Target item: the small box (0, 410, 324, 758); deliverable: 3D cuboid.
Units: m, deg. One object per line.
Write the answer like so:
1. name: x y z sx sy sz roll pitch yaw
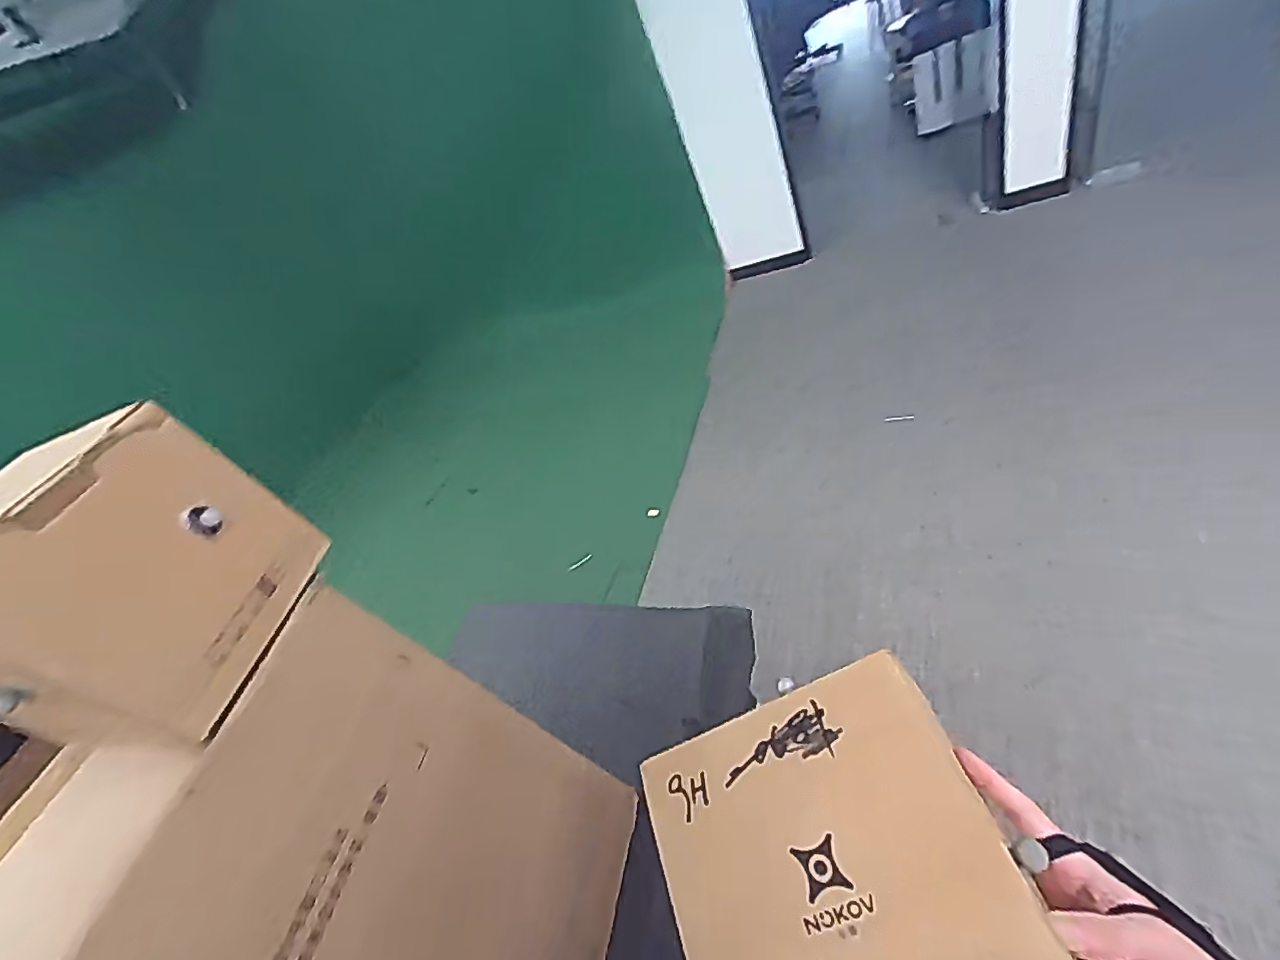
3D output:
1. small box: -0.378 0.082 0.386 0.179 0.176 0.168 -13 40 22
